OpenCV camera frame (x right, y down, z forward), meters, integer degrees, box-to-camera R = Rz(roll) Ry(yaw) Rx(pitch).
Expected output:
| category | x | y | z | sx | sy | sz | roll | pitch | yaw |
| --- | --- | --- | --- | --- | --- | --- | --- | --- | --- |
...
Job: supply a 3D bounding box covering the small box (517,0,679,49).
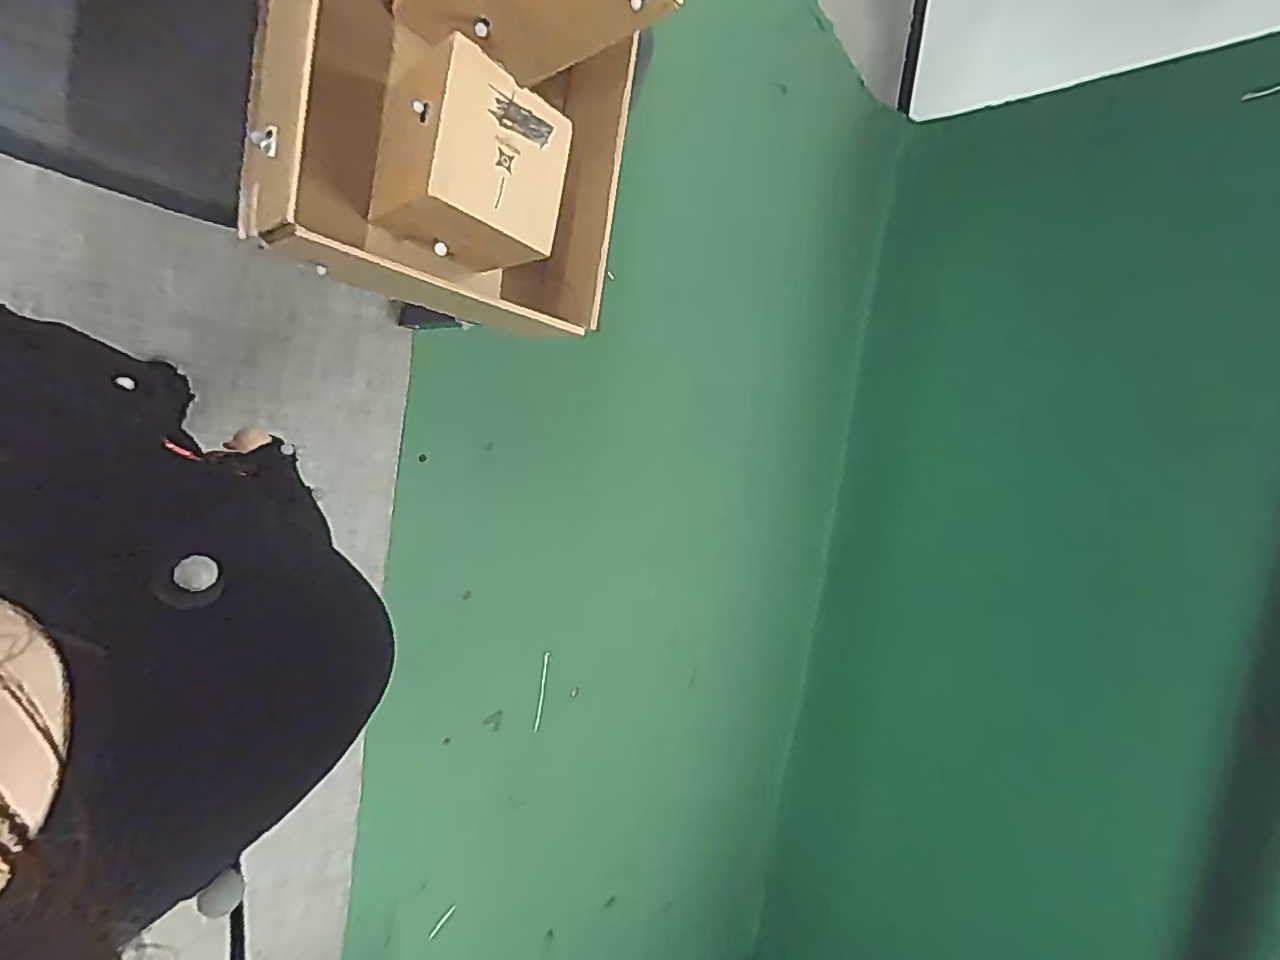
| category | x | y | z | sx | sy | sz | roll | pitch | yaw |
| --- | --- | --- | --- | --- | --- | --- | --- | --- | --- |
| small box | -0.063 | -0.600 | 0.559 | 0.179 | 0.176 | 0.168 | 3 | 98 | -49 |
